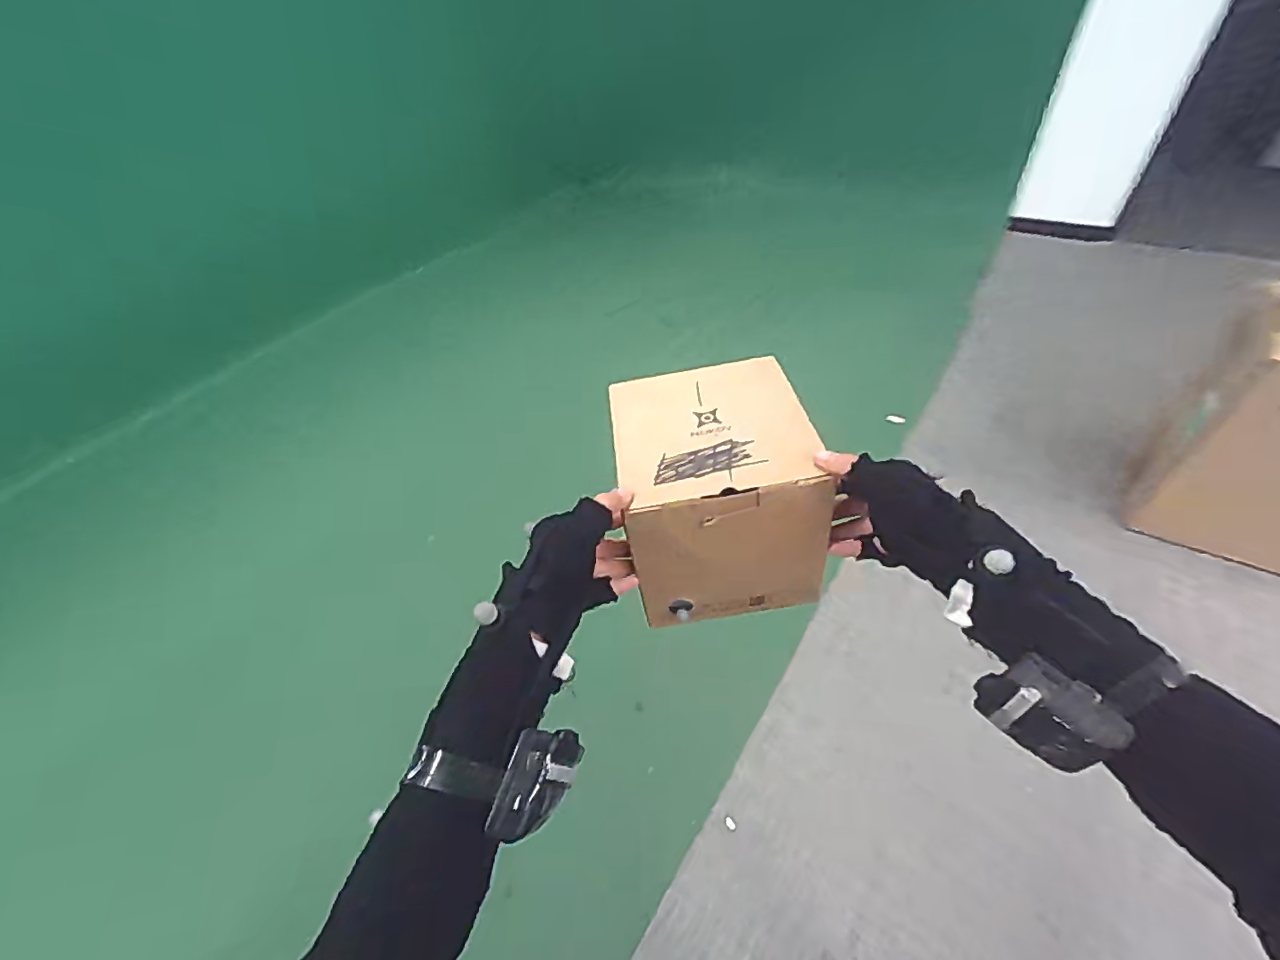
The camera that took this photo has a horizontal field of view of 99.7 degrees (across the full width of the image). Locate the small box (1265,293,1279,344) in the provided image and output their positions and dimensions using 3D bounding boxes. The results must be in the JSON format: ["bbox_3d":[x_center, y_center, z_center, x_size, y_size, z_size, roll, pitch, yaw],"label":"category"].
[{"bbox_3d":[1.590,-0.403,1.221,0.179,0.176,0.168,20,55,26],"label":"small box"}]

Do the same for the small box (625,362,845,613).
[{"bbox_3d":[0.082,0.013,0.525,0.168,0.176,0.179,-9,42,2],"label":"small box"}]
